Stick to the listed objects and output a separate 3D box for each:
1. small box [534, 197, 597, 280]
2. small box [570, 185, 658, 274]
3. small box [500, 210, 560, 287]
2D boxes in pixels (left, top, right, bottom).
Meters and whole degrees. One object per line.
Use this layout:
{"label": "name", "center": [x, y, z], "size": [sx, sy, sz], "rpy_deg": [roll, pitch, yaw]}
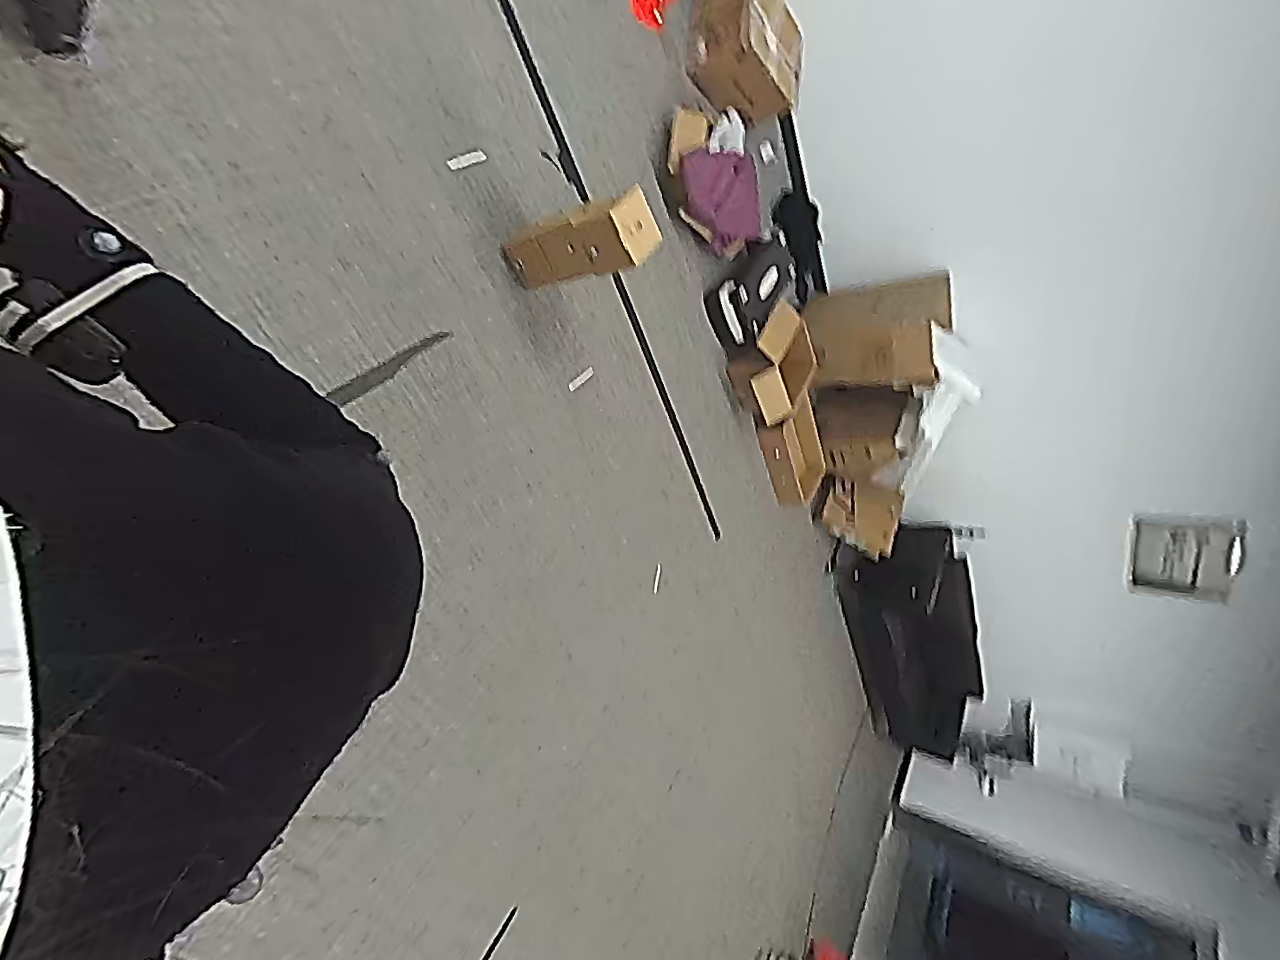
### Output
{"label": "small box", "center": [-0.206, -0.765, 1.724], "size": [0.168, 0.176, 0.179], "rpy_deg": [-53, 131, -33]}
{"label": "small box", "center": [-0.079, -0.747, 1.621], "size": [0.179, 0.176, 0.168], "rpy_deg": [-57, 131, -30]}
{"label": "small box", "center": [-0.336, -0.776, 1.825], "size": [0.179, 0.176, 0.168], "rpy_deg": [-55, 130, -31]}
